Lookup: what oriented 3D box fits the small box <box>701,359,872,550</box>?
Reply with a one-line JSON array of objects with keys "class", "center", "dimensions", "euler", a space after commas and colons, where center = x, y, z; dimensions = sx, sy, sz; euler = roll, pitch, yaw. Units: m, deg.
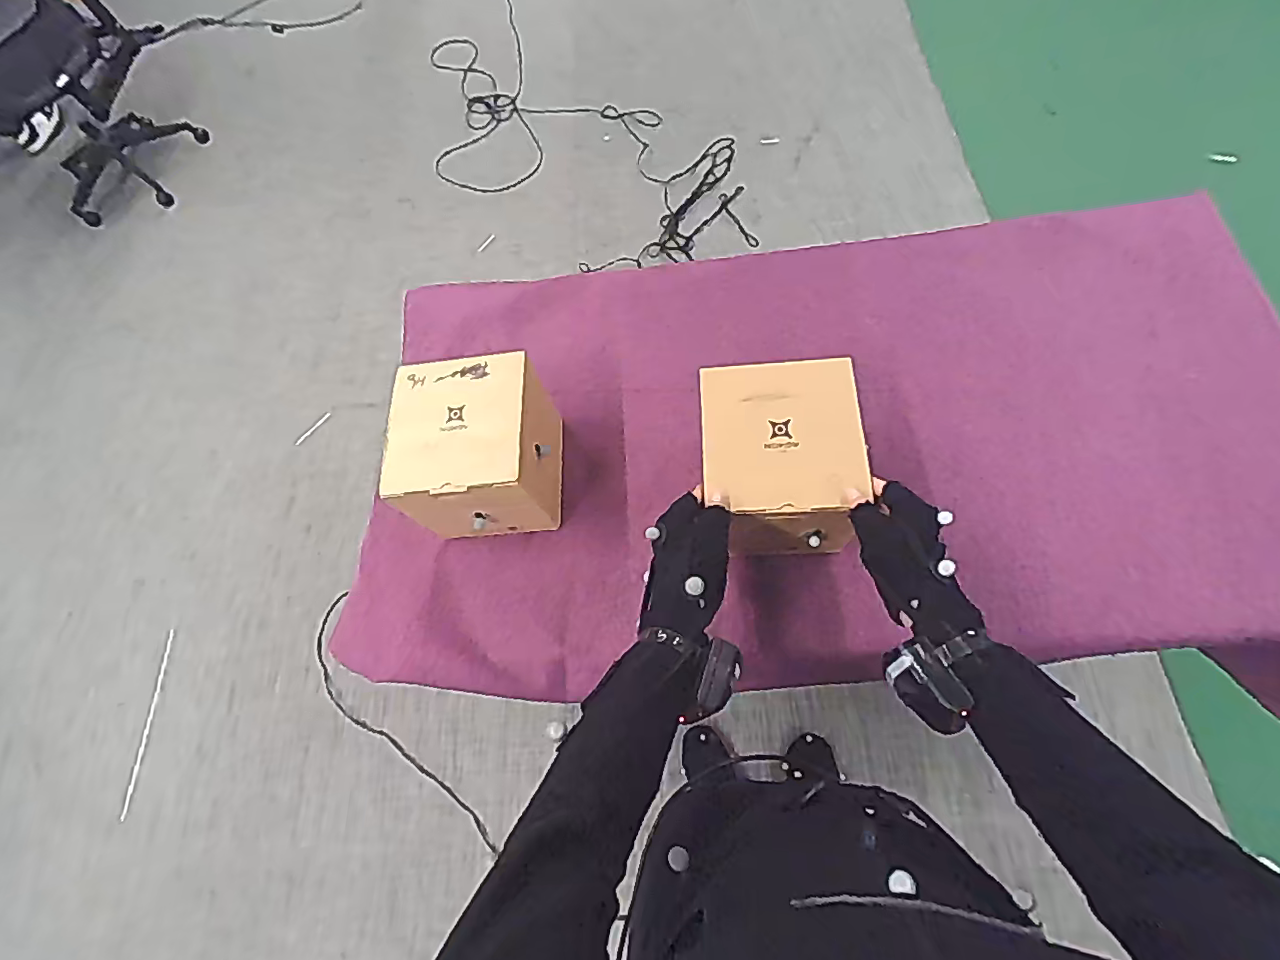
[{"class": "small box", "center": [0.159, -0.018, 0.637], "dimensions": [0.168, 0.176, 0.179], "euler": [-2, 67, 8]}]

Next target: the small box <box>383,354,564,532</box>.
[{"class": "small box", "center": [-0.200, -0.036, 0.701], "dimensions": [0.168, 0.176, 0.179], "euler": [-5, 67, 6]}]
